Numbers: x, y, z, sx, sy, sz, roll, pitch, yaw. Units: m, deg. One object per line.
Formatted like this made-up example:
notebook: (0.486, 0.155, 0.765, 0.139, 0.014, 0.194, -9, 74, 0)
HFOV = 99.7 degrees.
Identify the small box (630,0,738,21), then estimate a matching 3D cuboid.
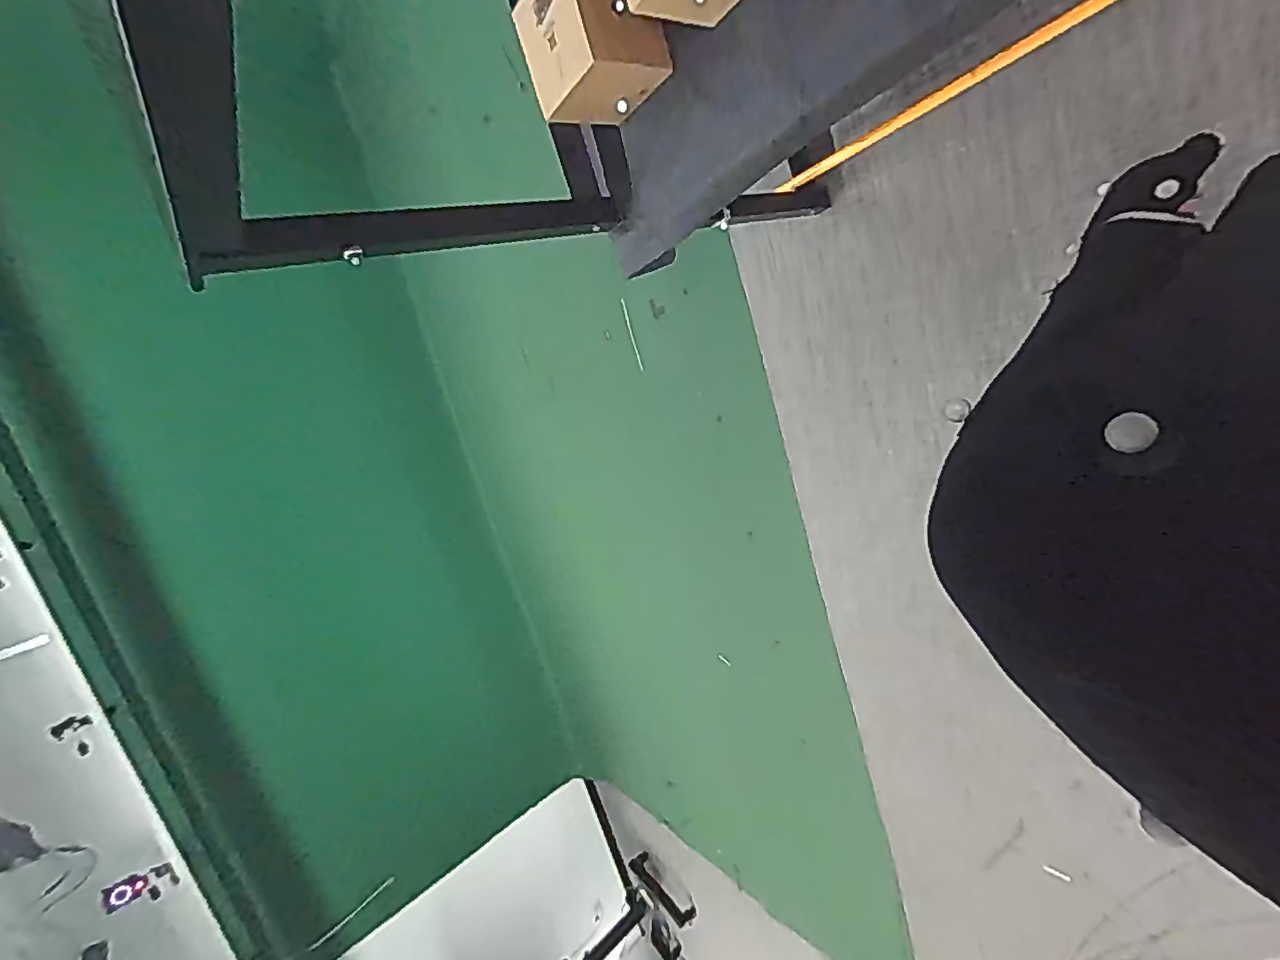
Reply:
small box: (0.076, -0.741, 0.700, 0.168, 0.176, 0.179, -4, 107, 54)

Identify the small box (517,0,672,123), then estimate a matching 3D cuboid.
small box: (-0.074, -0.729, 0.903, 0.168, 0.176, 0.179, -3, 108, 54)
